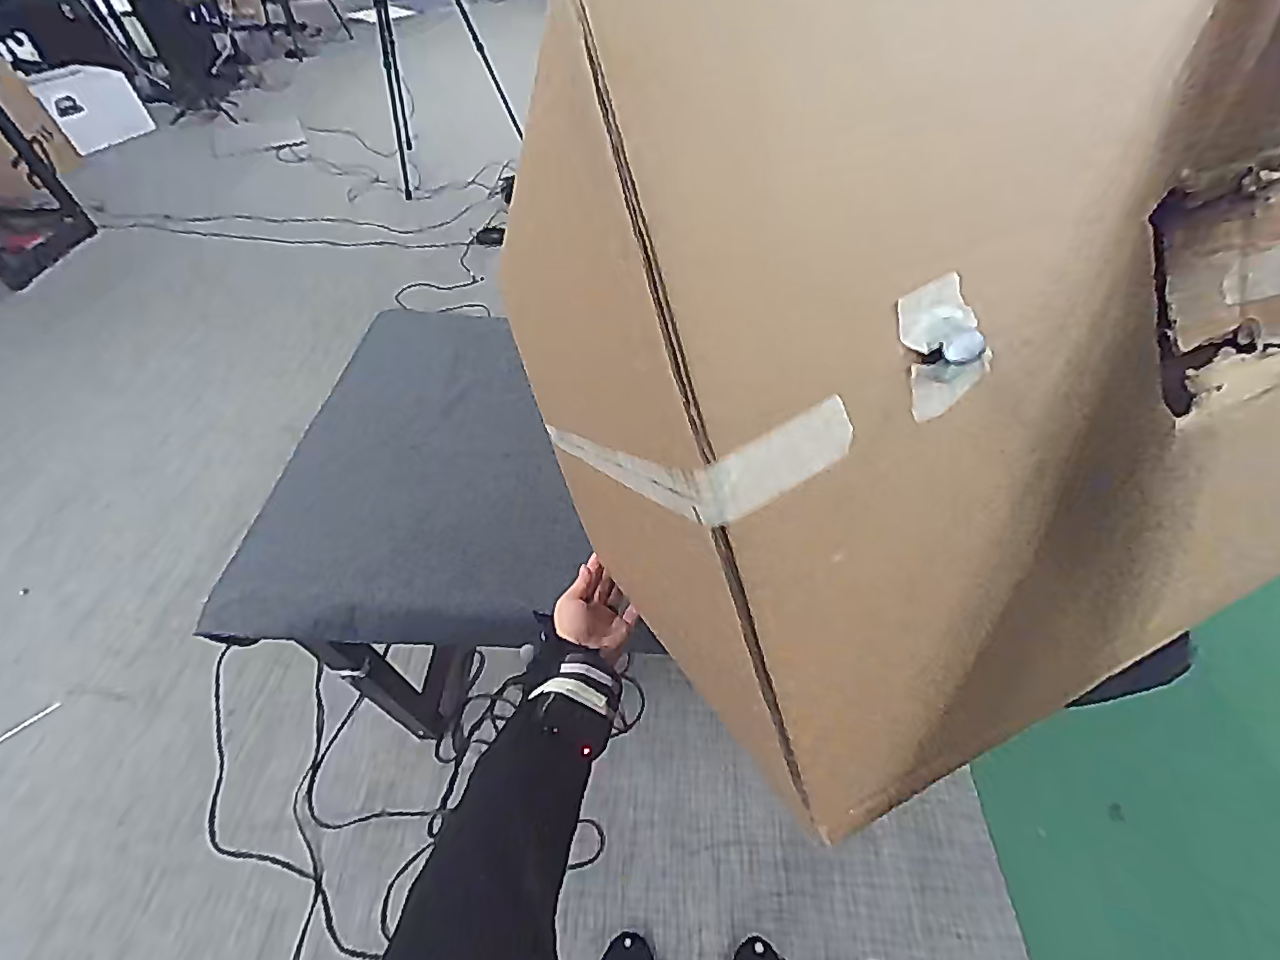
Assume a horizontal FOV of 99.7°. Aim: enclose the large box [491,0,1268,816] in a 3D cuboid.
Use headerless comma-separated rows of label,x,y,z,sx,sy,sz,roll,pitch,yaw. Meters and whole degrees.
large box,0.102,-0.076,0.404,0.320,0.320,0.408,-22,15,-15
